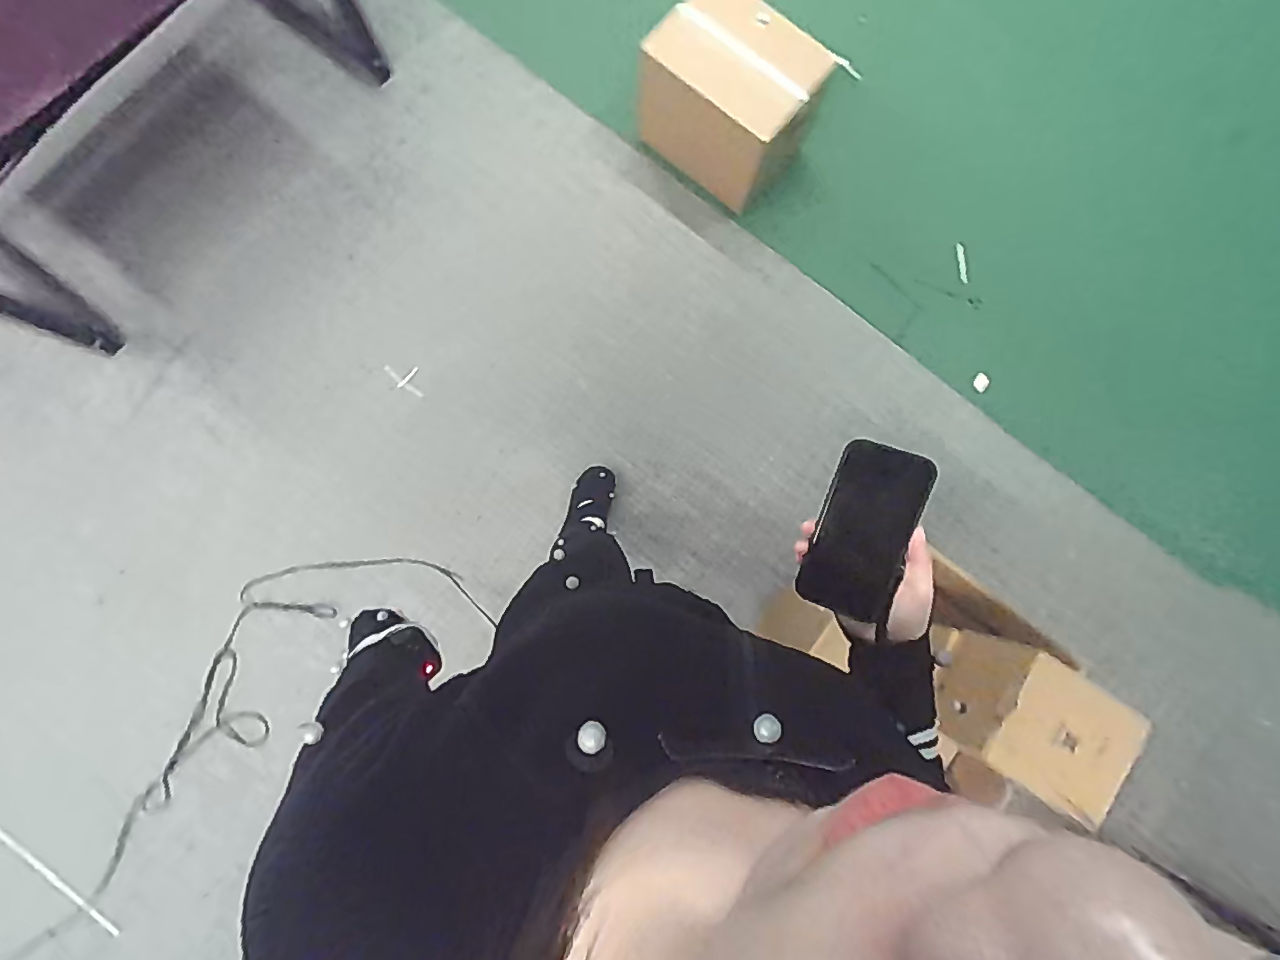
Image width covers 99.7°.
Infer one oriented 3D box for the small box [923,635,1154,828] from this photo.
[{"bbox_3d":[0.558,0.344,0.784,0.179,0.176,0.168,34,85,2],"label":"small box"}]
